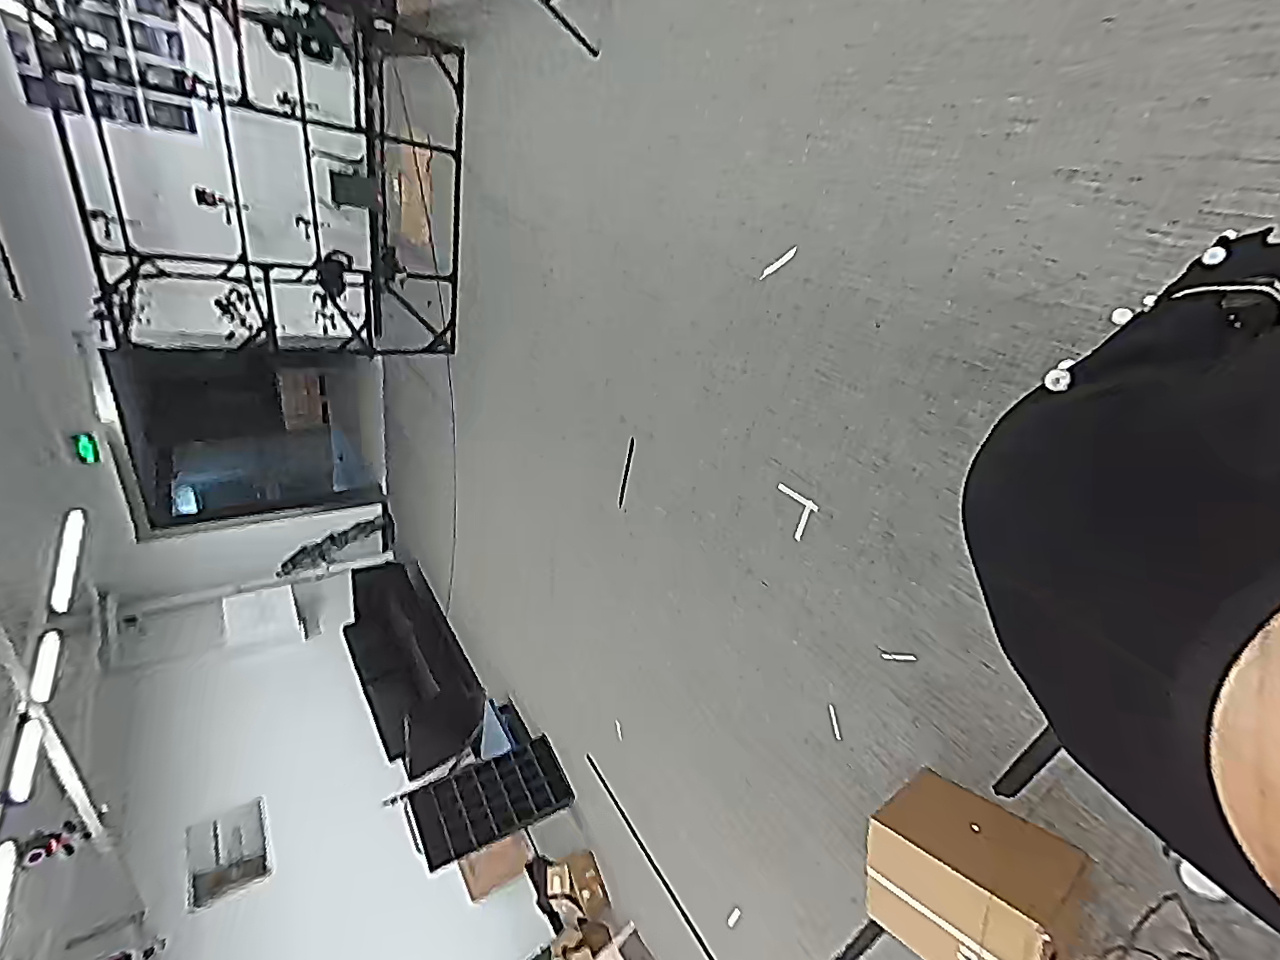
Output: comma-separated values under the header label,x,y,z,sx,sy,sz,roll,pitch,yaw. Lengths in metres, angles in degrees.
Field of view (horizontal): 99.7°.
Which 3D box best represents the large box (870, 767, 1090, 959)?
label,x,y,z,sx,sy,sz,roll,pitch,yaw
large box,0.873,1.044,1.416,0.408,0.320,0.320,10,105,52
